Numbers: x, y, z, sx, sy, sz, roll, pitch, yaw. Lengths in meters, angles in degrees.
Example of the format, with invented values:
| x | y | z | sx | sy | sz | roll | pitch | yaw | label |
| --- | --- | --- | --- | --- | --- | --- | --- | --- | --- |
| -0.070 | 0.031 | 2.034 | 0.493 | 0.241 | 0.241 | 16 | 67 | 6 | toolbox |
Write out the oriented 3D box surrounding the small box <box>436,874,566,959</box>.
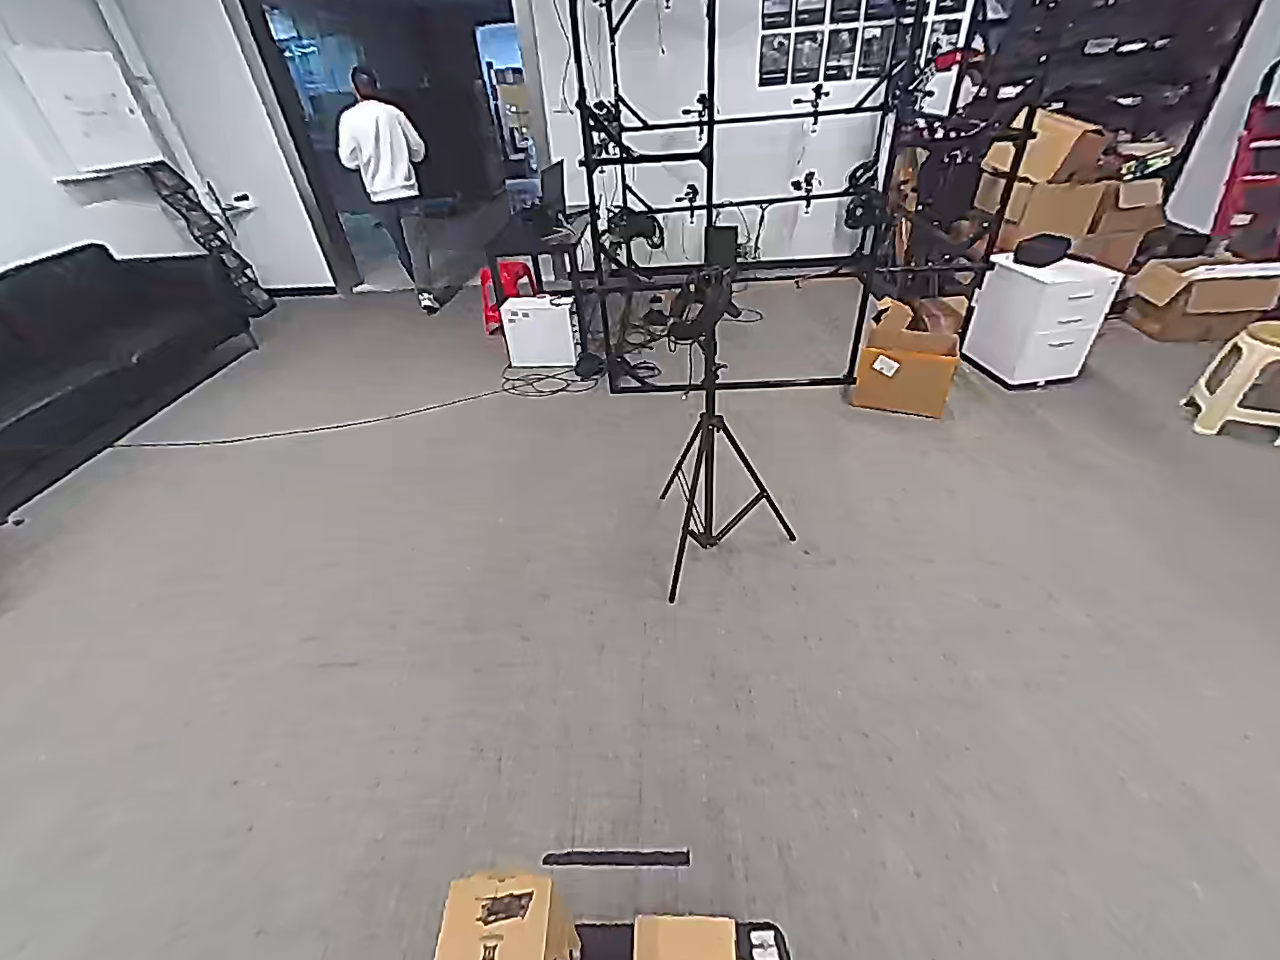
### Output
| x | y | z | sx | sy | sz | roll | pitch | yaw | label |
| --- | --- | --- | --- | --- | --- | --- | --- | --- | --- |
| -0.212 | 0.750 | 0.844 | 0.168 | 0.176 | 0.179 | -3 | 37 | 1 | small box |

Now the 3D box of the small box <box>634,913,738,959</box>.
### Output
| x | y | z | sx | sy | sz | roll | pitch | yaw | label |
| --- | --- | --- | --- | --- | --- | --- | --- | --- | --- |
| 0.081 | 0.873 | 0.928 | 0.179 | 0.176 | 0.168 | -3 | 36 | 5 | small box |

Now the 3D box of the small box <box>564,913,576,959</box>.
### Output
| x | y | z | sx | sy | sz | roll | pitch | yaw | label |
| --- | --- | --- | --- | --- | --- | --- | --- | --- | --- |
| -0.200 | 0.885 | 0.937 | 0.168 | 0.176 | 0.179 | -3 | 36 | 2 | small box |
